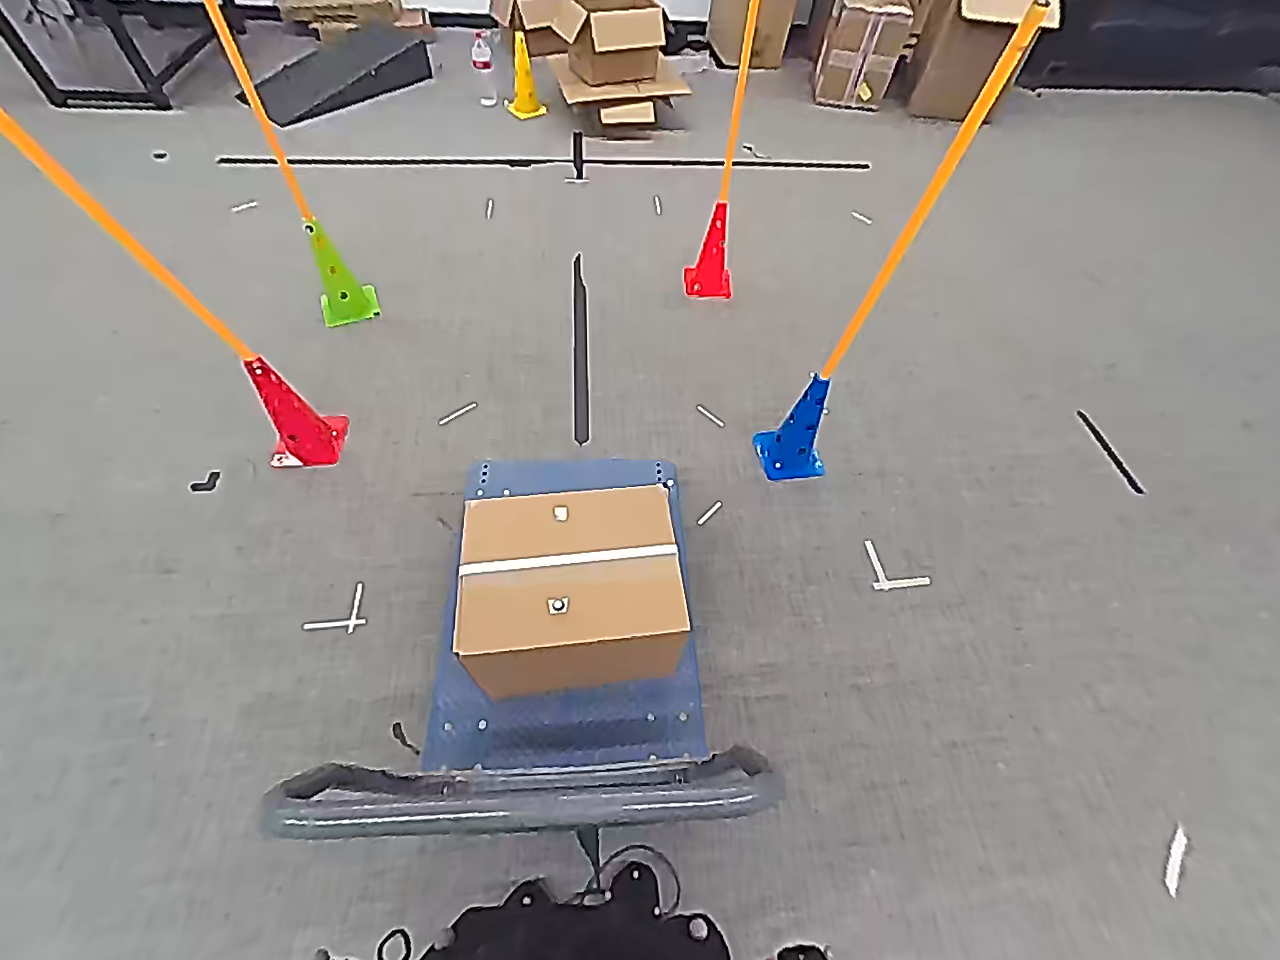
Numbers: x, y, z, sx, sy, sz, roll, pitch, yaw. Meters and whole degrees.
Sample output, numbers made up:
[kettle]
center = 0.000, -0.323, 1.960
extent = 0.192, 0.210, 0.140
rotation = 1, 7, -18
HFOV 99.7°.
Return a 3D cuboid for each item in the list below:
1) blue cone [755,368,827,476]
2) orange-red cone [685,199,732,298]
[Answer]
[blue cone]
center = 0.503, -0.187, 1.670
extent = 0.193, 0.380, 0.192
rotation = -5, 55, -8
[orange-red cone]
center = 0.301, -0.935, 2.150
extent = 0.199, 0.360, 0.198
rotation = 4, 56, -2
